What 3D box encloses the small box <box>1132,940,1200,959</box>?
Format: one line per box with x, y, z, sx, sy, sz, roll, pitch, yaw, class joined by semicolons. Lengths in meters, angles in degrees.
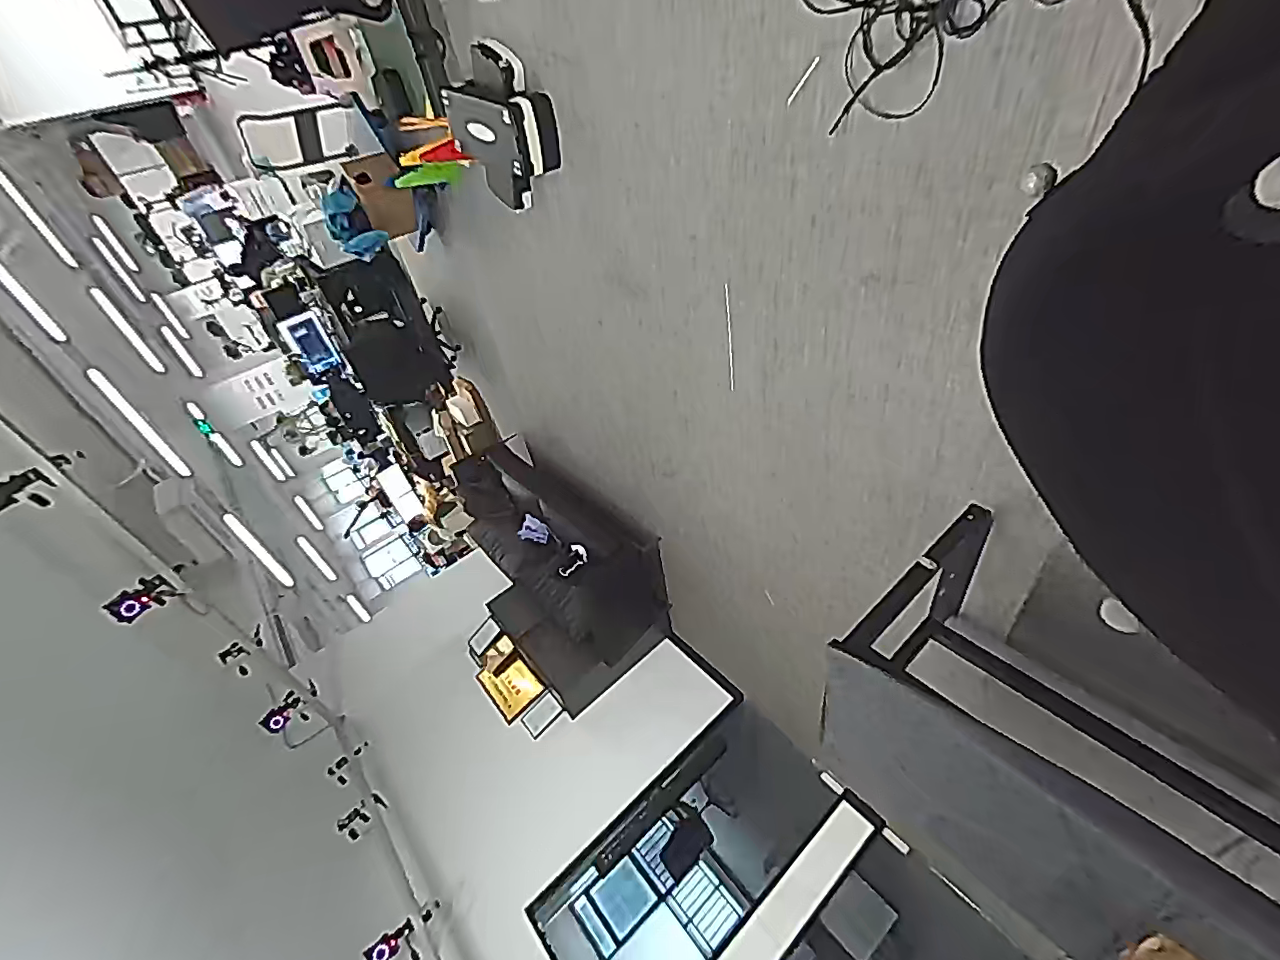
1.033;1.026;1.019;0.168;0.176;0.179;33;147;40;small box
